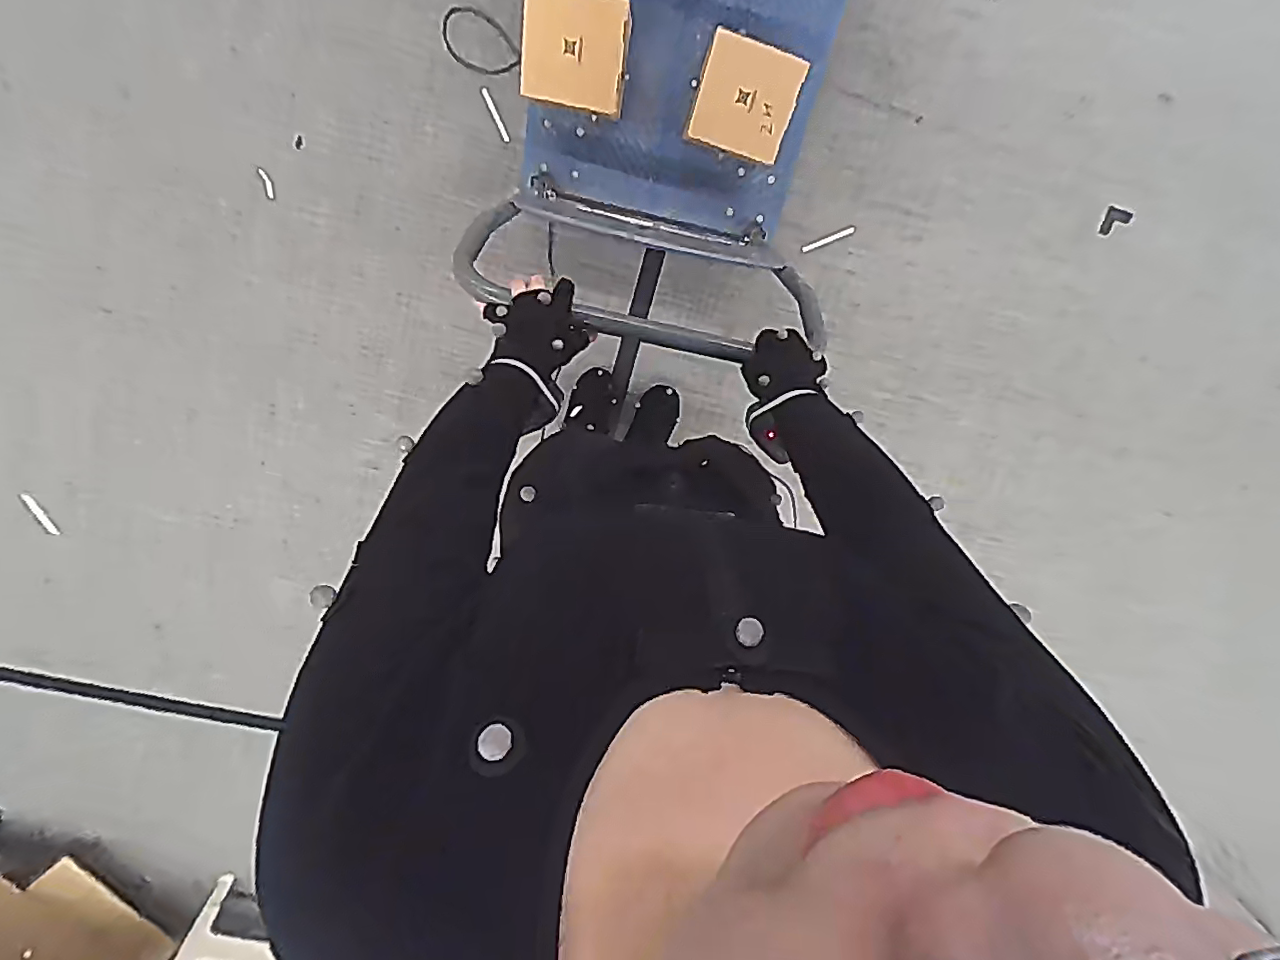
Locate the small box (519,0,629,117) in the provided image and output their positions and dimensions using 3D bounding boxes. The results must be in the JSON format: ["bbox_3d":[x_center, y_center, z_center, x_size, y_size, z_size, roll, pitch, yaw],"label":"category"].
[{"bbox_3d":[-0.118,-0.787,1.001,0.179,0.176,0.168,7,120,-6],"label":"small box"}]

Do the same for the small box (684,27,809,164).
[{"bbox_3d":[0.191,-0.721,1.036,0.179,0.176,0.168,15,120,-8],"label":"small box"}]
